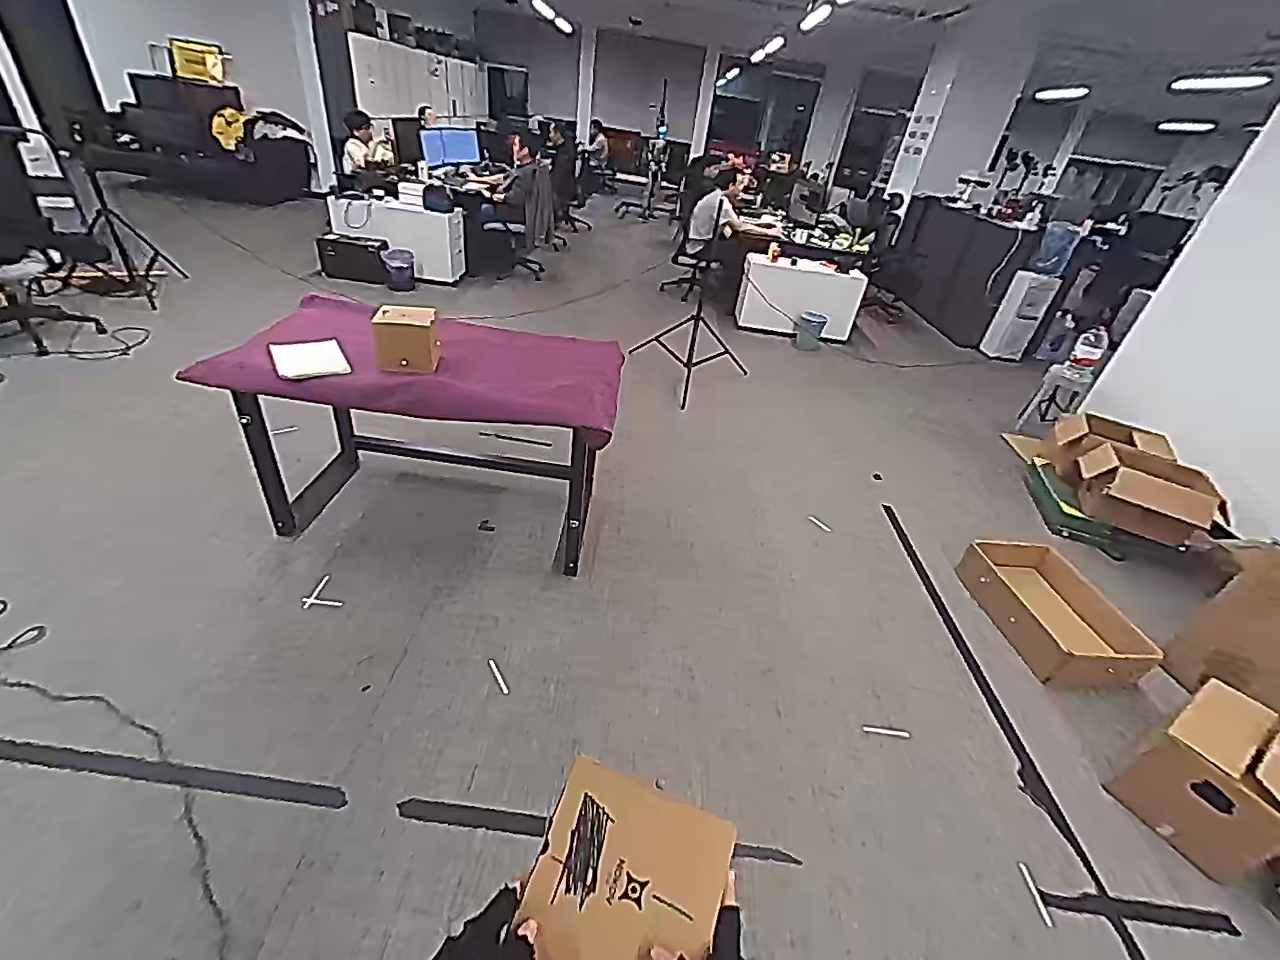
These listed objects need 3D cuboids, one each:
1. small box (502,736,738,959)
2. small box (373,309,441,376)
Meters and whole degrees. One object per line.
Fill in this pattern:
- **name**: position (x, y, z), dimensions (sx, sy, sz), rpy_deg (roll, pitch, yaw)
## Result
- **small box**: position (-0.017, 0.394, 0.567), dimensions (0.179, 0.176, 0.168), rpy_deg (20, 60, 8)
- **small box**: position (-0.779, -0.461, 1.828), dimensions (0.179, 0.176, 0.168), rpy_deg (2, 34, -11)
